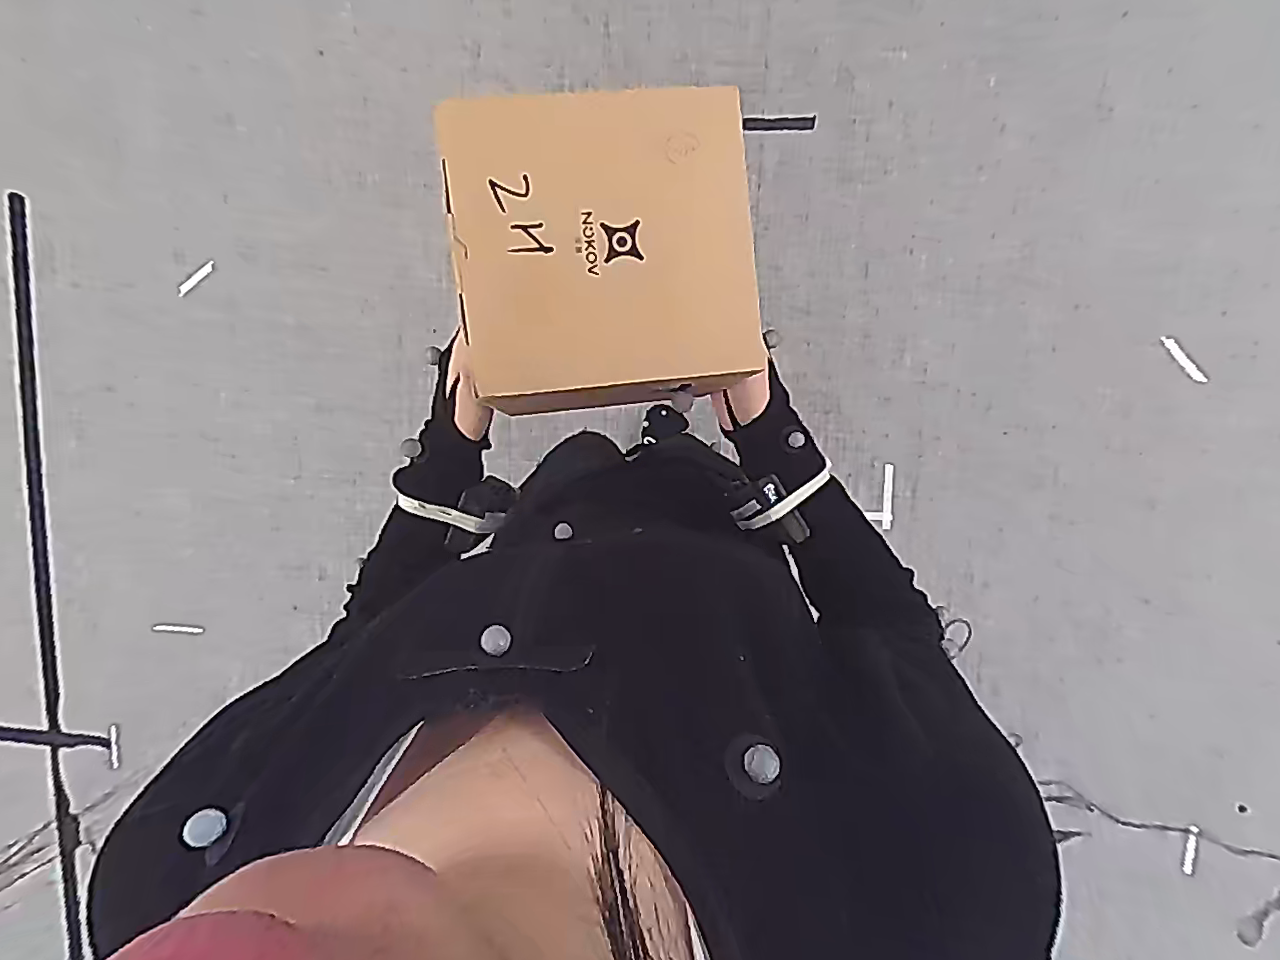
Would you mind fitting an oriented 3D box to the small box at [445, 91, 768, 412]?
[{"bbox_3d":[-0.024,-0.142,0.392,0.179,0.176,0.168,-7,94,-6],"label":"small box"}]
